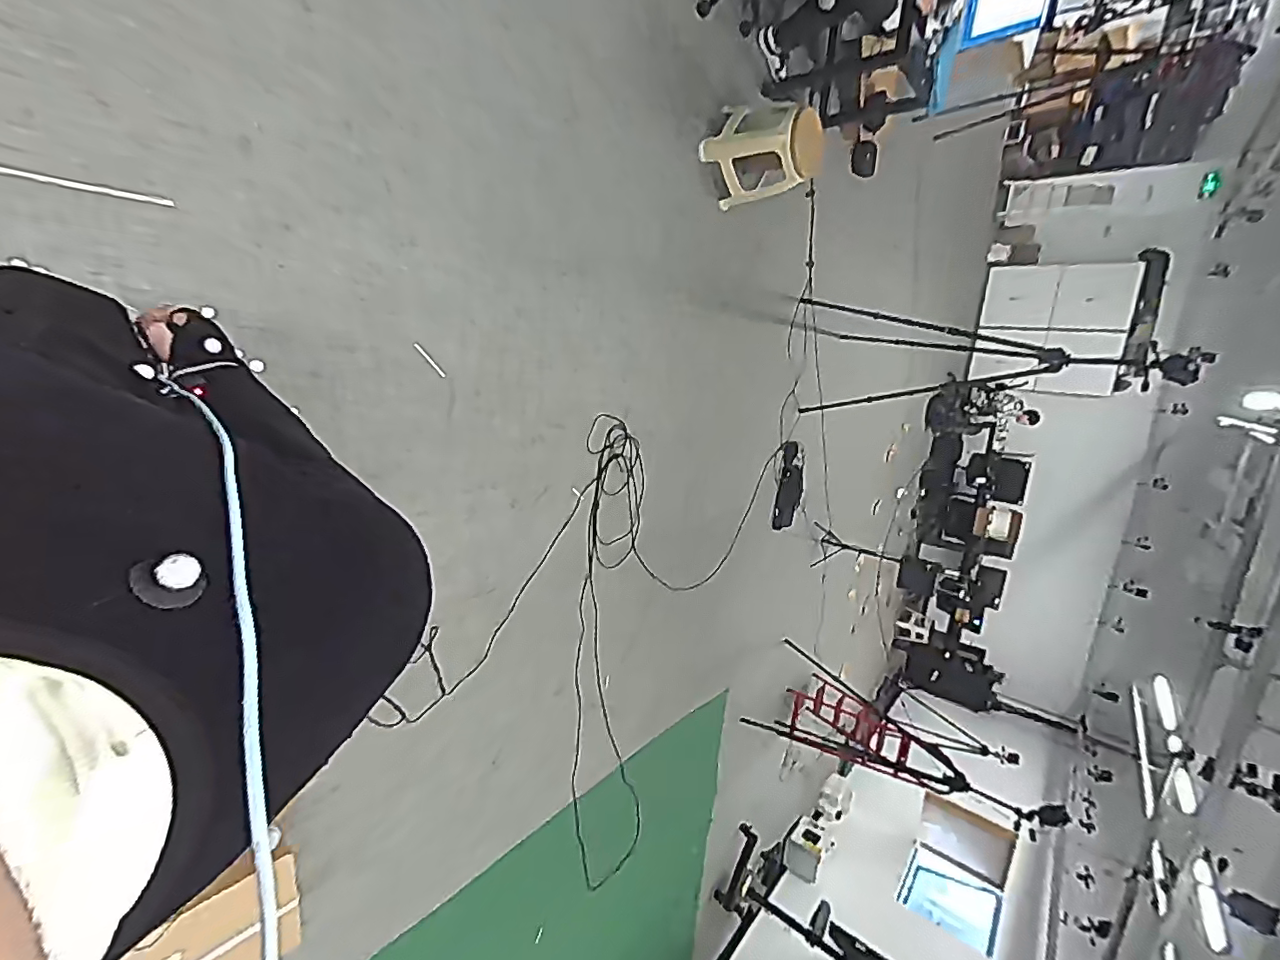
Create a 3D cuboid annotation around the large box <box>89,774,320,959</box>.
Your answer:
[{"bbox_3d":[-1.122,1.078,1.416,0.408,0.320,0.320,-12,110,-48],"label":"large box"}]
